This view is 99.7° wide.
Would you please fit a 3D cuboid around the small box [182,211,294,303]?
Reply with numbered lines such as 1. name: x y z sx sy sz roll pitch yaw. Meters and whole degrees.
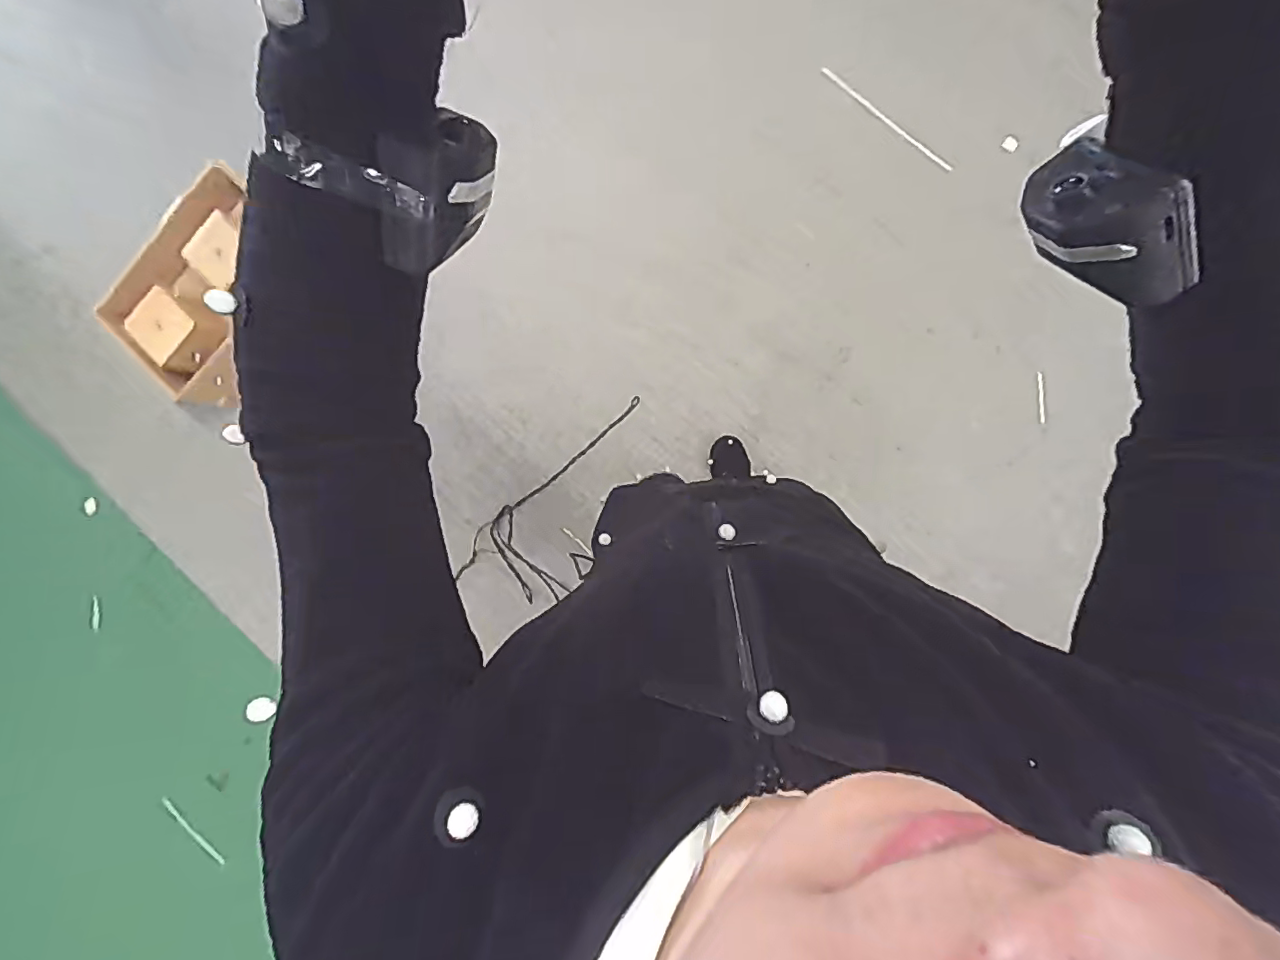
1. small box: -1.195 -0.655 1.621 0.168 0.176 0.179 -44 87 5

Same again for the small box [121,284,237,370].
1. small box: -1.391 -0.454 1.644 0.179 0.176 0.168 45 94 5
